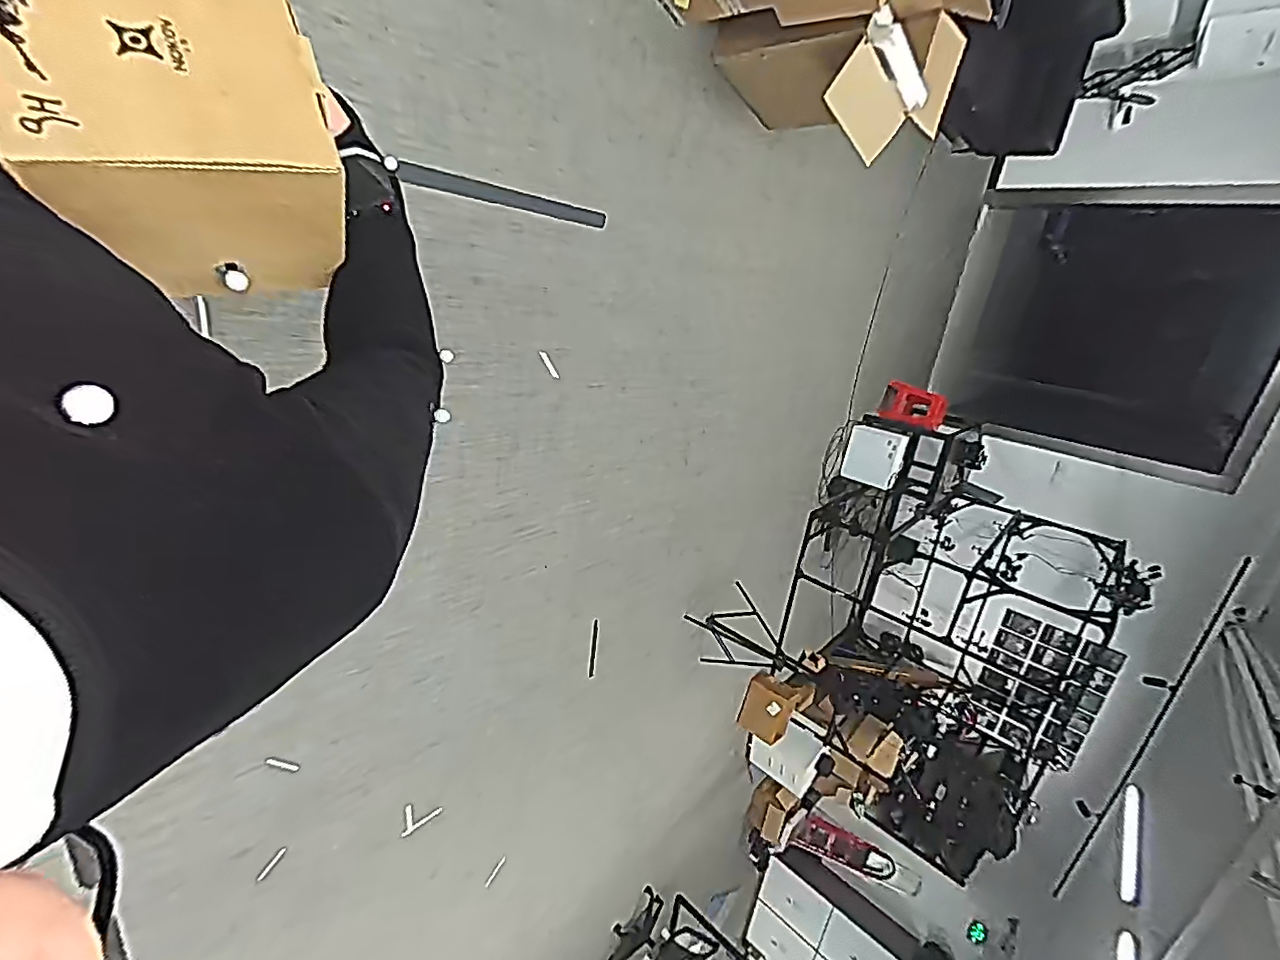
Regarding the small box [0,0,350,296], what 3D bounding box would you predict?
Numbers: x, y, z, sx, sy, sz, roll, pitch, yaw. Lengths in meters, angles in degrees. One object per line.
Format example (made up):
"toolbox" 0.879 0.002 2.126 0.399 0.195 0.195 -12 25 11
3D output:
"small box" -0.351 -0.264 0.429 0.179 0.176 0.168 -17 87 -31
